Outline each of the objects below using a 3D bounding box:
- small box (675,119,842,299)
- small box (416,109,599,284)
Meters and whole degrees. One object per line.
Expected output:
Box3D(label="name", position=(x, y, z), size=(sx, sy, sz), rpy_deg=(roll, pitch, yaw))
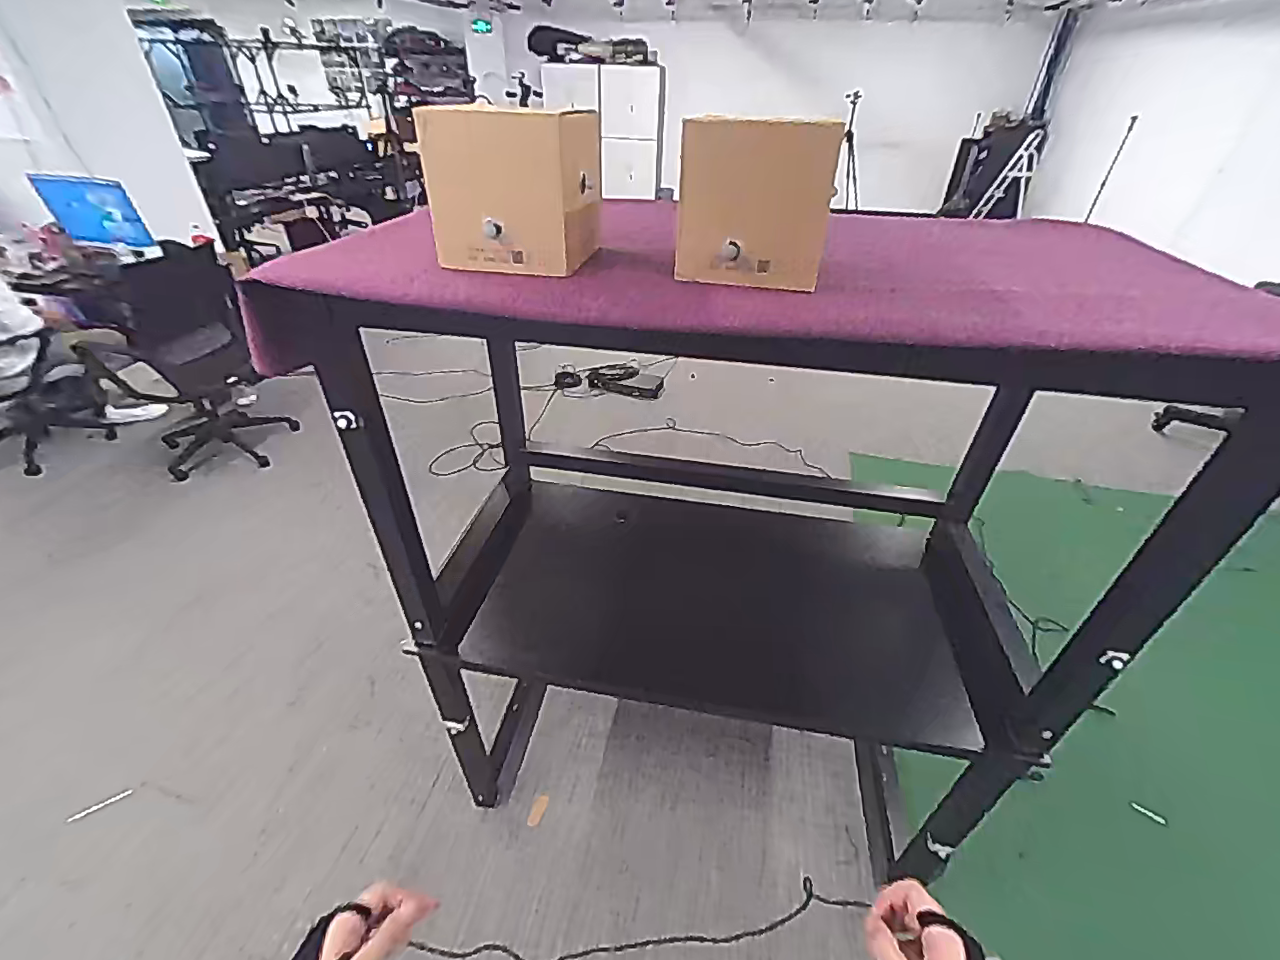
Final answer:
Box3D(label="small box", position=(0.138, -0.335, 0.658), size=(0.168, 0.176, 0.179), rpy_deg=(8, 36, 11))
Box3D(label="small box", position=(-0.151, -0.361, 0.681), size=(0.168, 0.176, 0.179), rpy_deg=(7, 36, 7))
